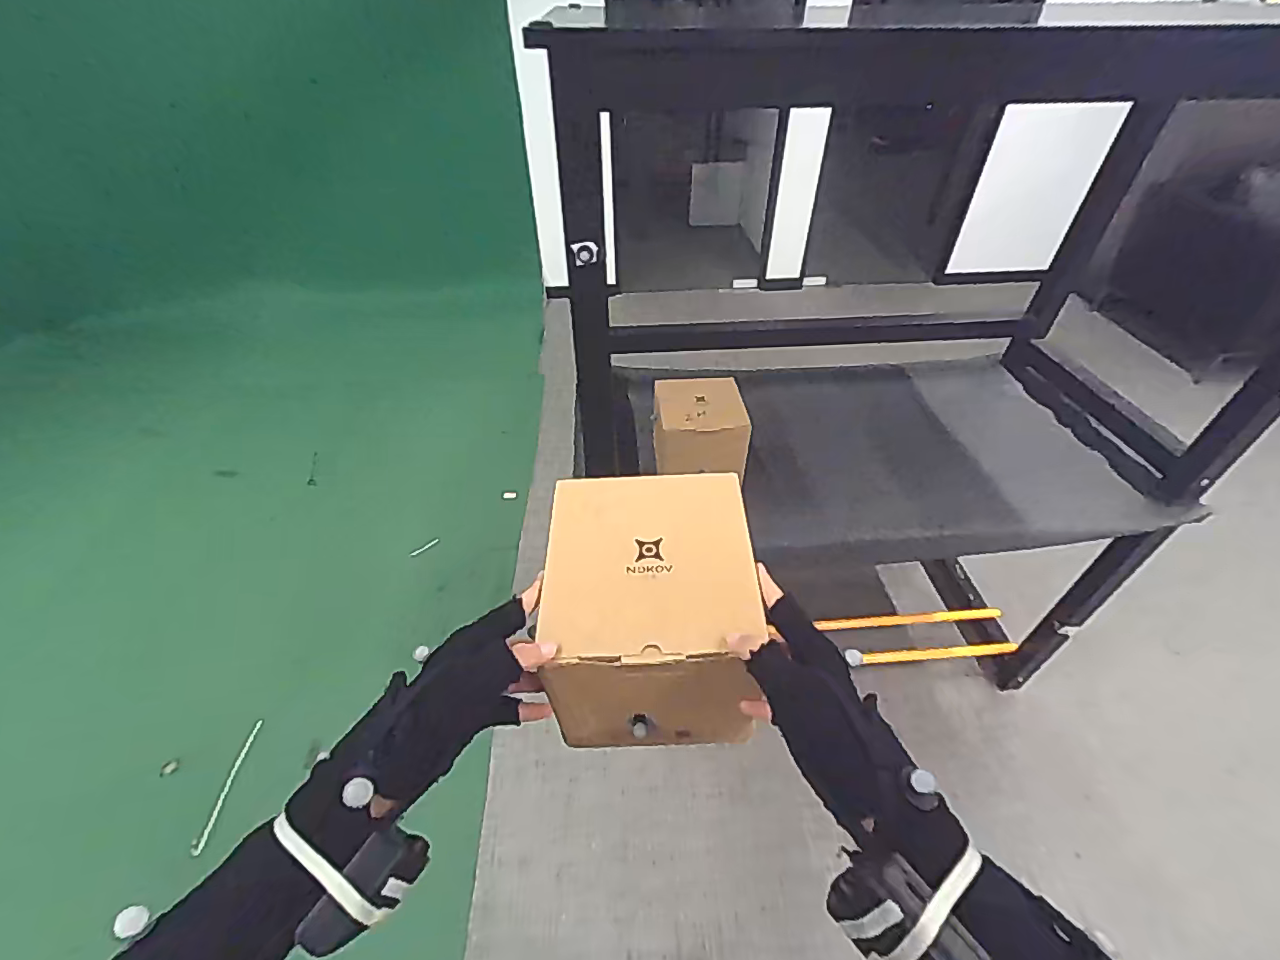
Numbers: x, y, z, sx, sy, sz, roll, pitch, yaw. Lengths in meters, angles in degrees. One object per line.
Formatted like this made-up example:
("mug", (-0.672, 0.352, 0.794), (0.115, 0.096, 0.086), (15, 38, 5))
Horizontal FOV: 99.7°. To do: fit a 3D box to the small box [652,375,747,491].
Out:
("small box", (0.113, -0.098, 1.106), (0.168, 0.176, 0.179), (-3, 42, -2))
